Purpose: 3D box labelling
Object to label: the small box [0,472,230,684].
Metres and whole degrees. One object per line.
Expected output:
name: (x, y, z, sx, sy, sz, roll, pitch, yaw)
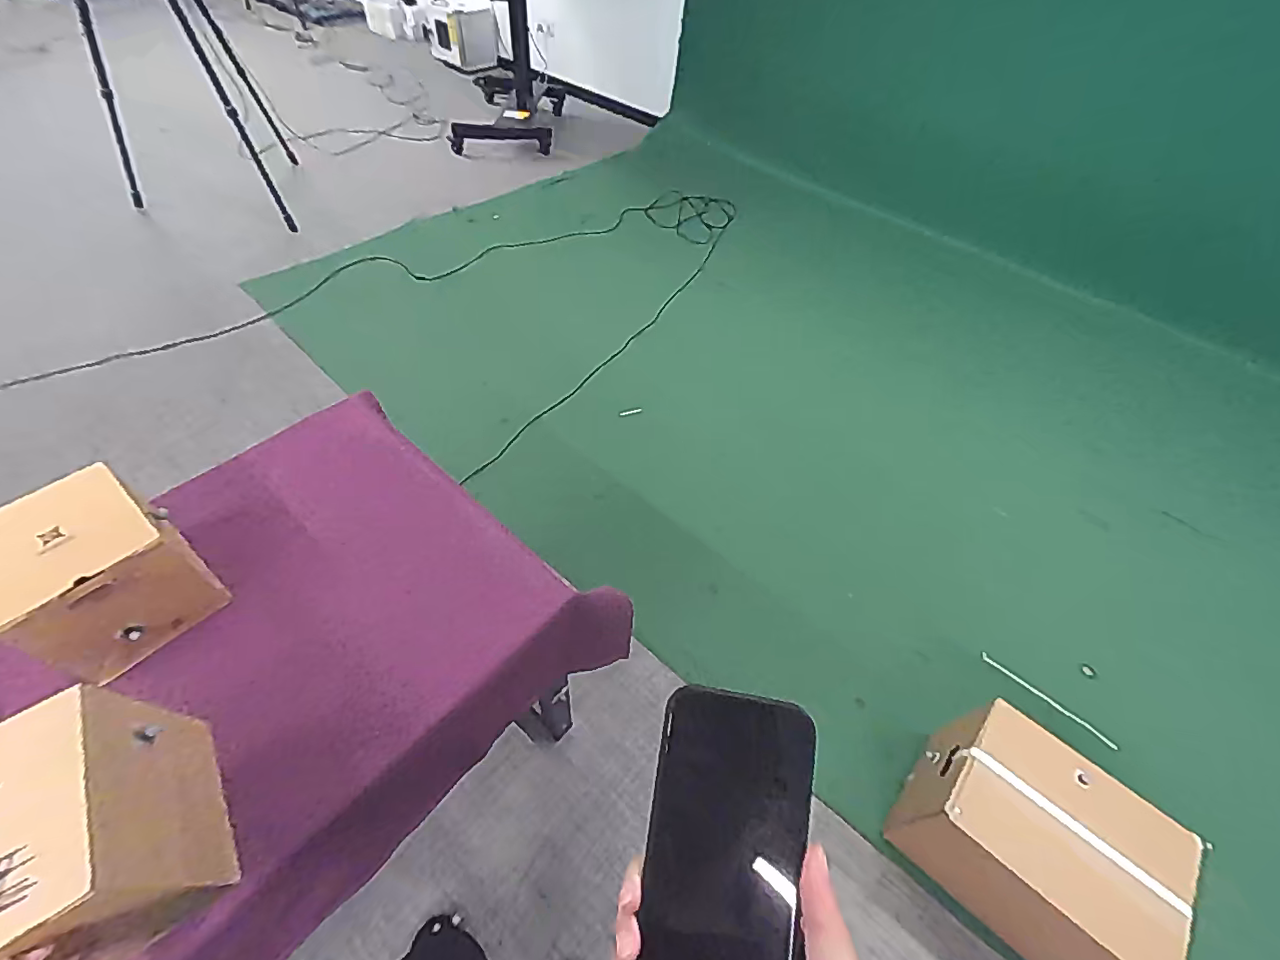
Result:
small box: (-0.688, 0.129, 0.697, 0.179, 0.176, 0.168, 35, 56, 21)
